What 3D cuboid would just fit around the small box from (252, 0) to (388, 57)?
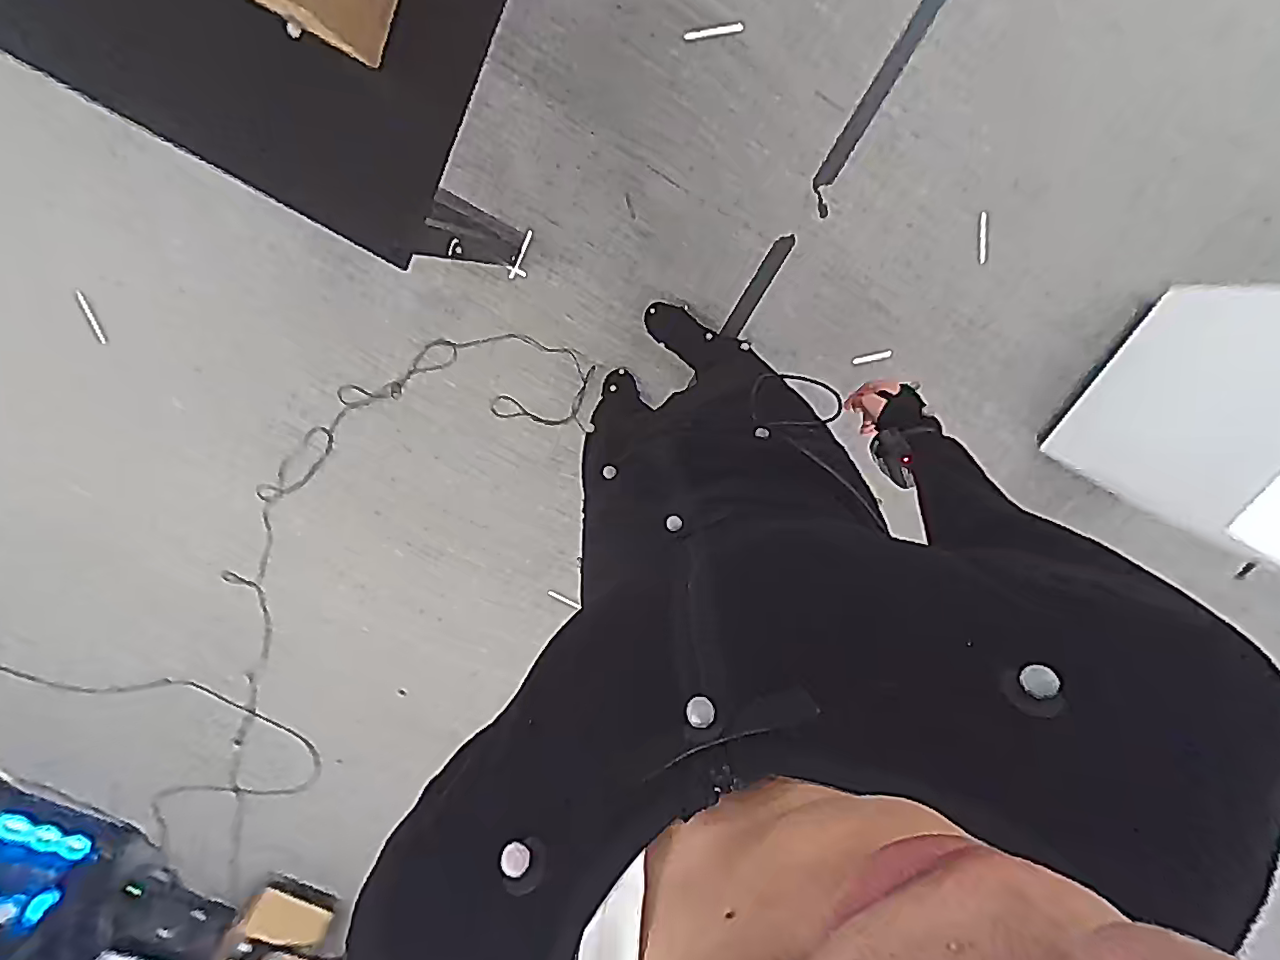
[{"bbox_3d":[-0.386,-0.614,0.595,0.179,0.176,0.168,25,108,-8],"label":"small box"}]
